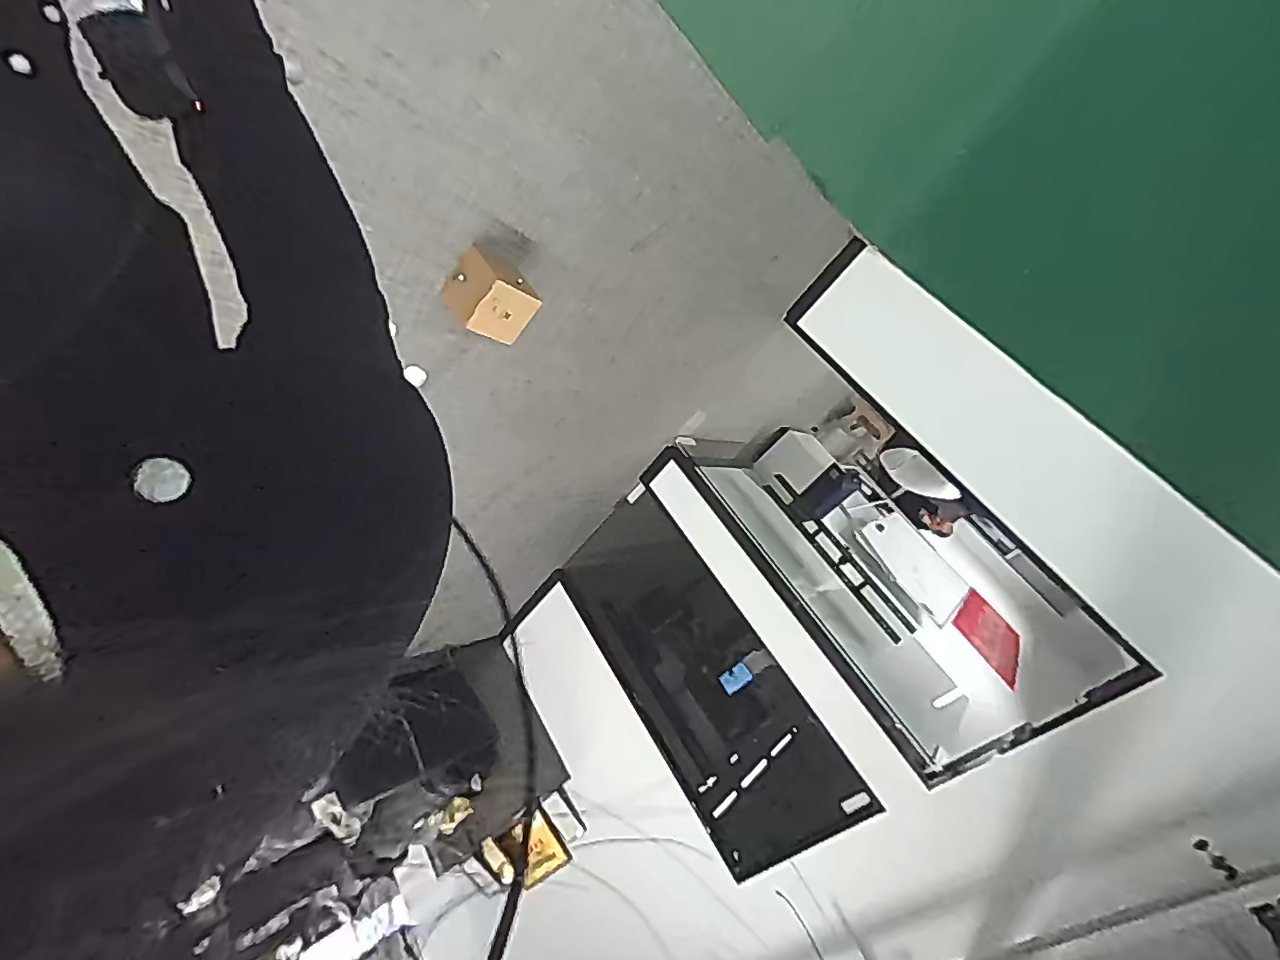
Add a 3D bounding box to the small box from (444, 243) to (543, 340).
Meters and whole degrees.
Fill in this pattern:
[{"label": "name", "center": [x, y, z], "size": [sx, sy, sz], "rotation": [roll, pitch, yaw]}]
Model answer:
[{"label": "small box", "center": [-0.416, -0.533, 1.531], "size": [0.168, 0.176, 0.179], "rotation": [-45, 155, 21]}]
